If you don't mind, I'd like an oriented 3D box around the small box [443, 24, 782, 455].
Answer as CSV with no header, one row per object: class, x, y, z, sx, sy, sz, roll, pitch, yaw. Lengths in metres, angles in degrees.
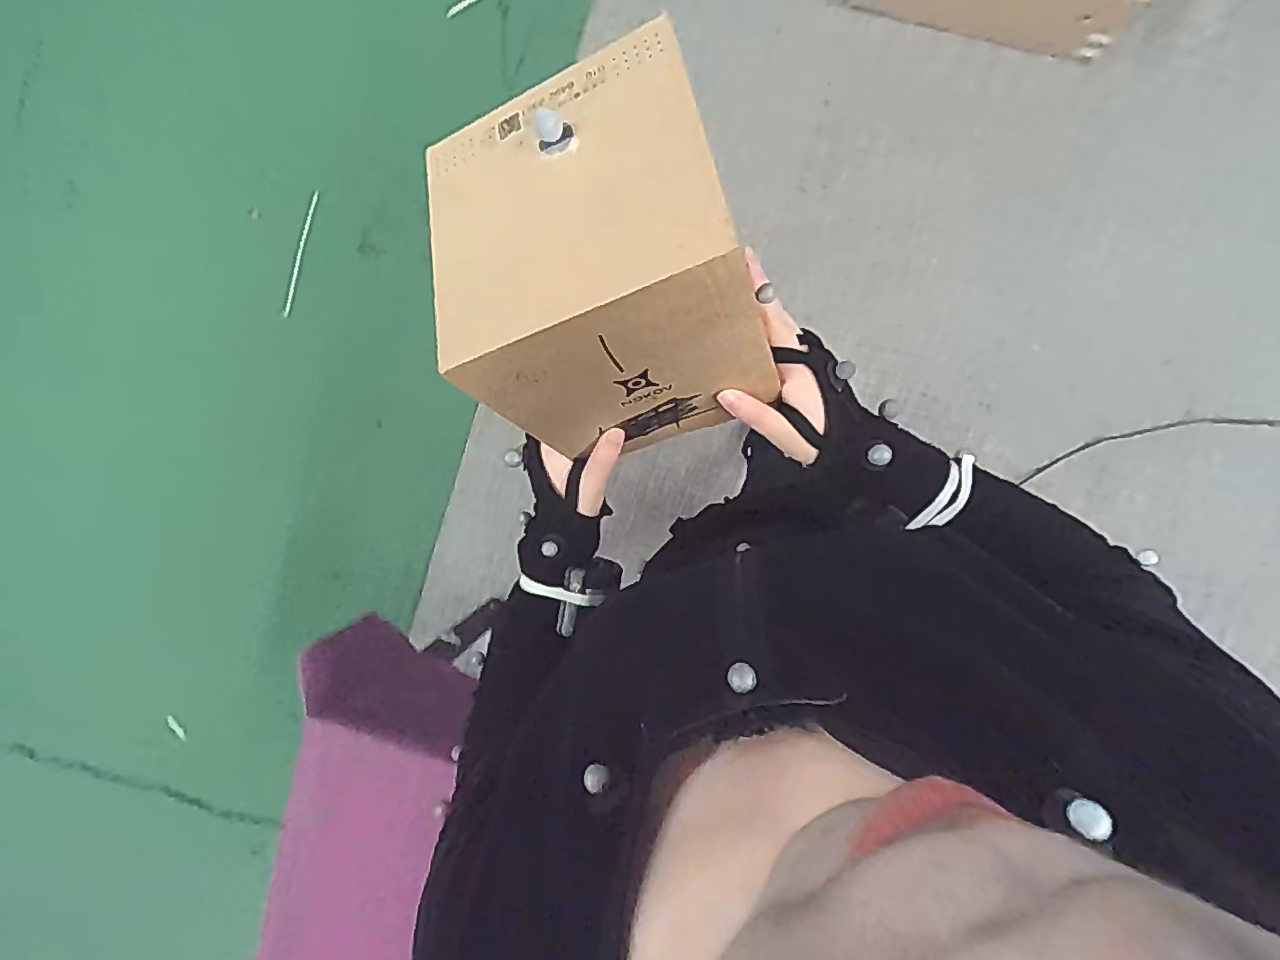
small box,-0.011,-0.138,0.366,0.168,0.179,0.176,-16,68,16
